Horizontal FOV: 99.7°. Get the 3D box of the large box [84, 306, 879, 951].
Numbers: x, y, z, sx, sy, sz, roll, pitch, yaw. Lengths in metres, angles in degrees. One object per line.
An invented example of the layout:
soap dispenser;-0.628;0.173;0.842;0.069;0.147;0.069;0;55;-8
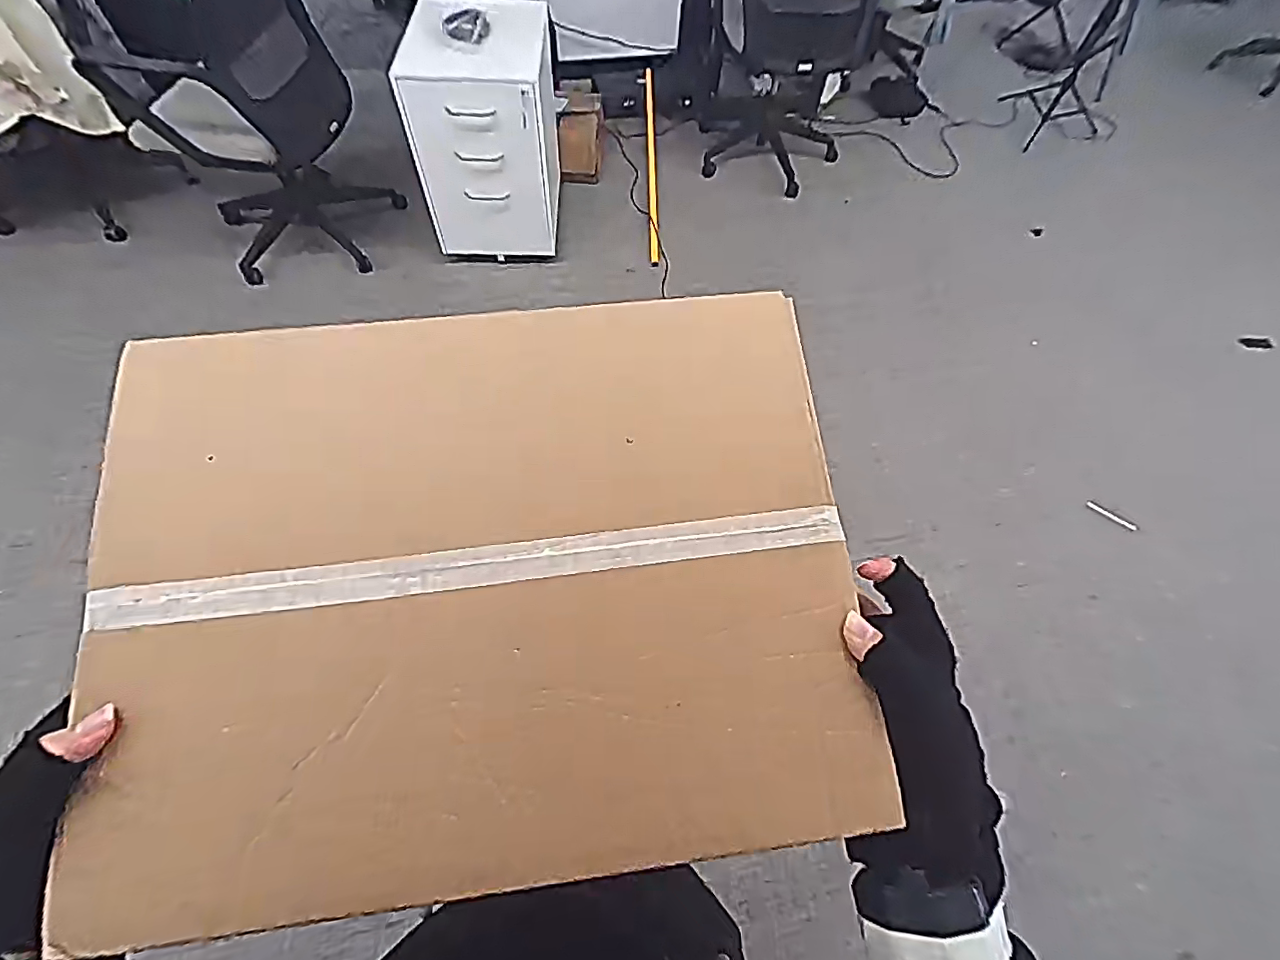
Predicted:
large box;-0.092;0.091;0.451;0.408;0.320;0.320;-6;74;-4
